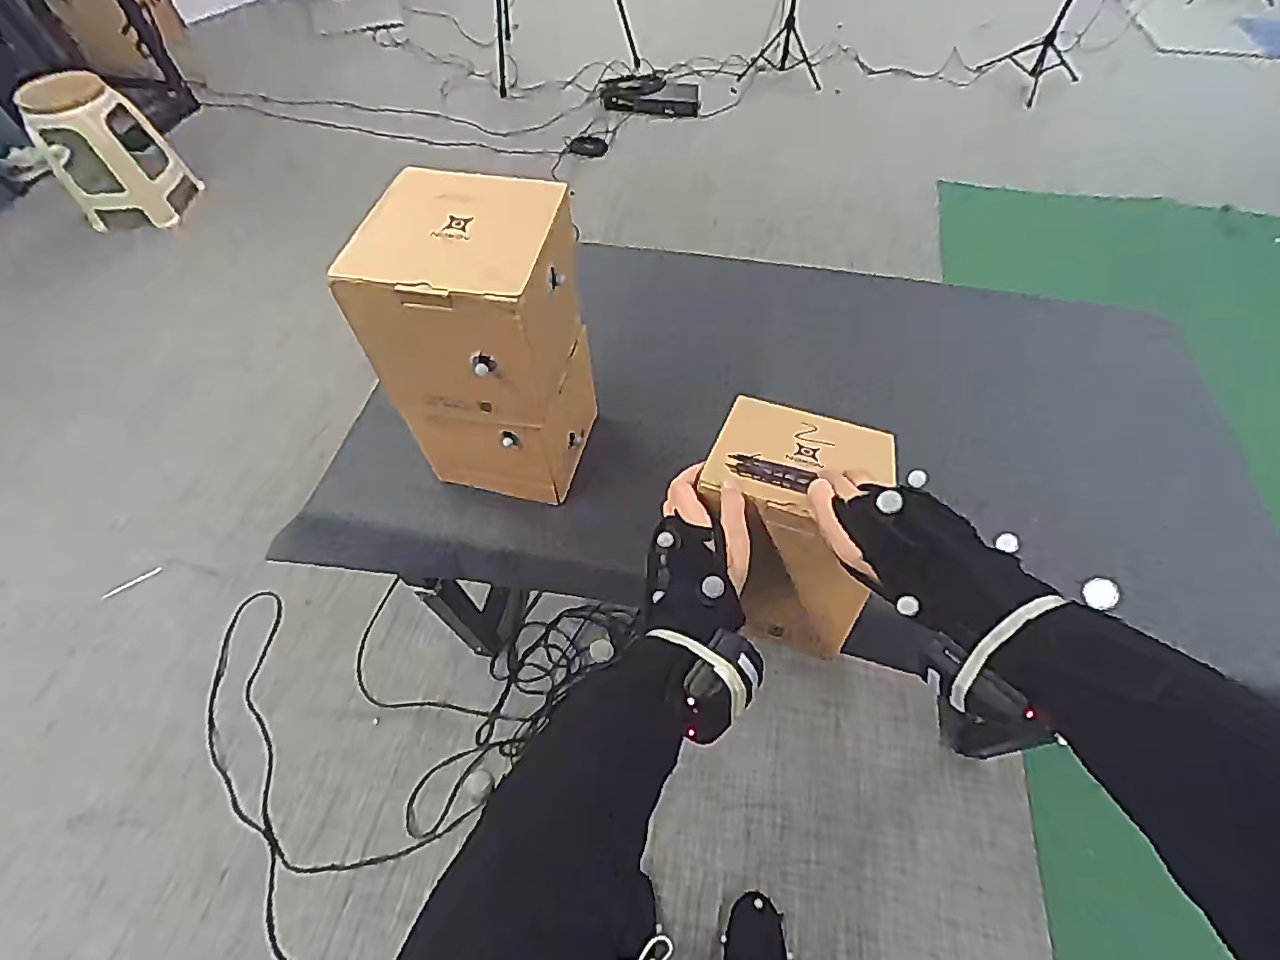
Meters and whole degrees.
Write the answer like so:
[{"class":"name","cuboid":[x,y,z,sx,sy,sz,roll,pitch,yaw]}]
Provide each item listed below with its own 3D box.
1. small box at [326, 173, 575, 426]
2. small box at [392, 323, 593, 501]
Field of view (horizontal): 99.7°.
[{"class":"small box","cuboid":[-0.165,-0.176,0.545,0.168,0.176,0.179,8,56,4]},{"class":"small box","cuboid":[-0.168,-0.092,0.684,0.179,0.176,0.168,12,57,8]}]
